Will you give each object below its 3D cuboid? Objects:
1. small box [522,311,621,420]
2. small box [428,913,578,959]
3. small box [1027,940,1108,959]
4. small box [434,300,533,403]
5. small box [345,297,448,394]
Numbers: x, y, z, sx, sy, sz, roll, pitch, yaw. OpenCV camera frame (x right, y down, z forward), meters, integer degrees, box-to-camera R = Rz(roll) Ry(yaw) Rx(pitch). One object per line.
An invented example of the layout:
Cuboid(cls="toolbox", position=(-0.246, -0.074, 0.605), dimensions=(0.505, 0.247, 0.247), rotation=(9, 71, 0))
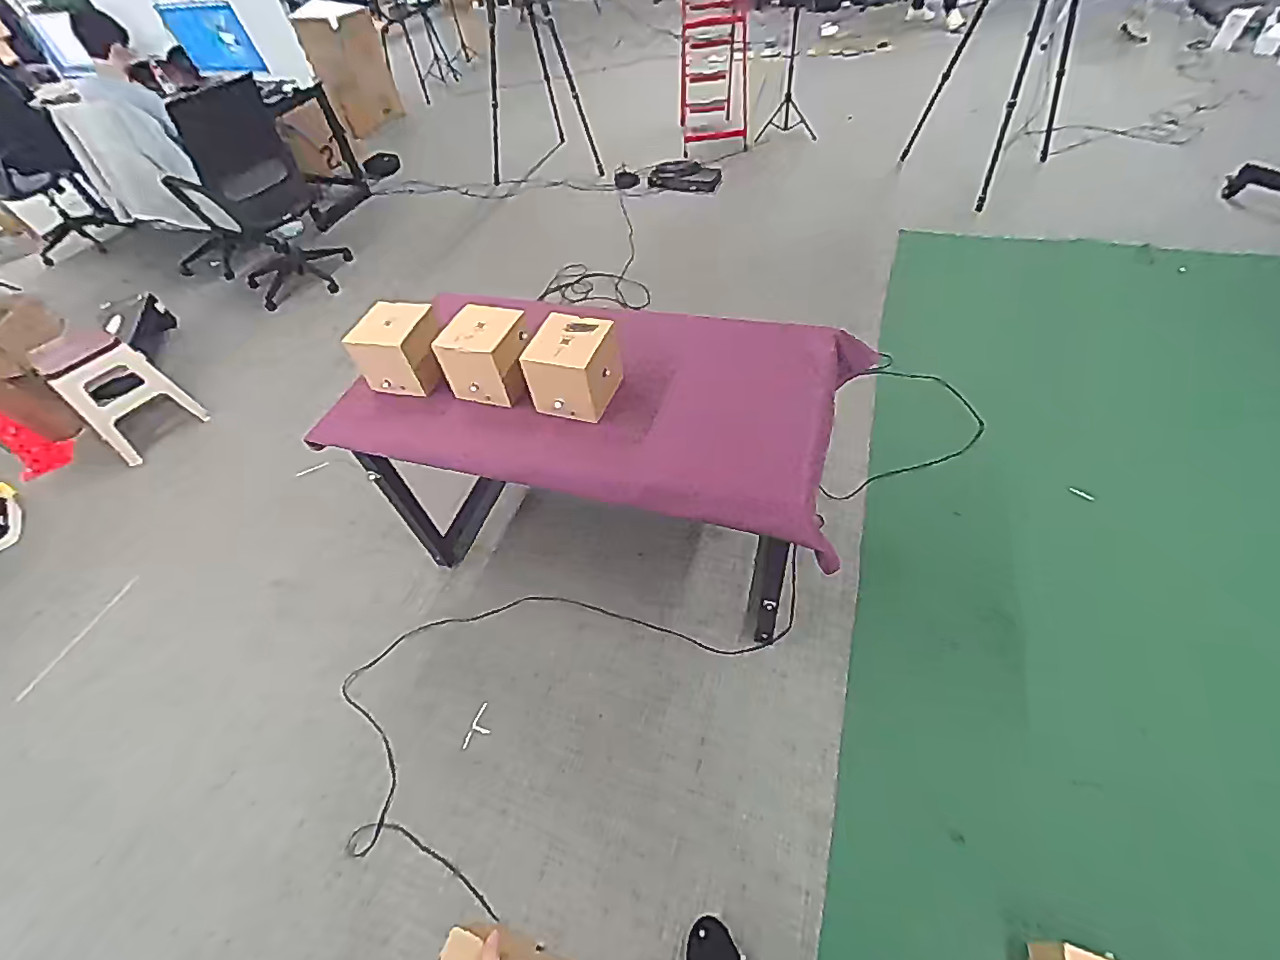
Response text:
Cuboid(cls="small box", position=(-0.152, -0.271, 1.282), dimensions=(0.168, 0.176, 0.179), rotation=(13, 55, 17))
Cuboid(cls="small box", position=(-0.169, 0.647, 0.637), dimensions=(0.179, 0.176, 0.168), rotation=(14, 56, 16))
Cuboid(cls="small box", position=(0.874, 1.023, 1.038), dimensions=(0.179, 0.176, 0.168), rotation=(13, 53, 16))
Cuboid(cls="small box", position=(-0.372, -0.320, 1.350), dimensions=(0.168, 0.176, 0.179), rotation=(12, 54, 16))
Cuboid(cls="small box", position=(-0.613, -0.350, 1.406), dimensions=(0.168, 0.176, 0.179), rotation=(7, 53, 14))
